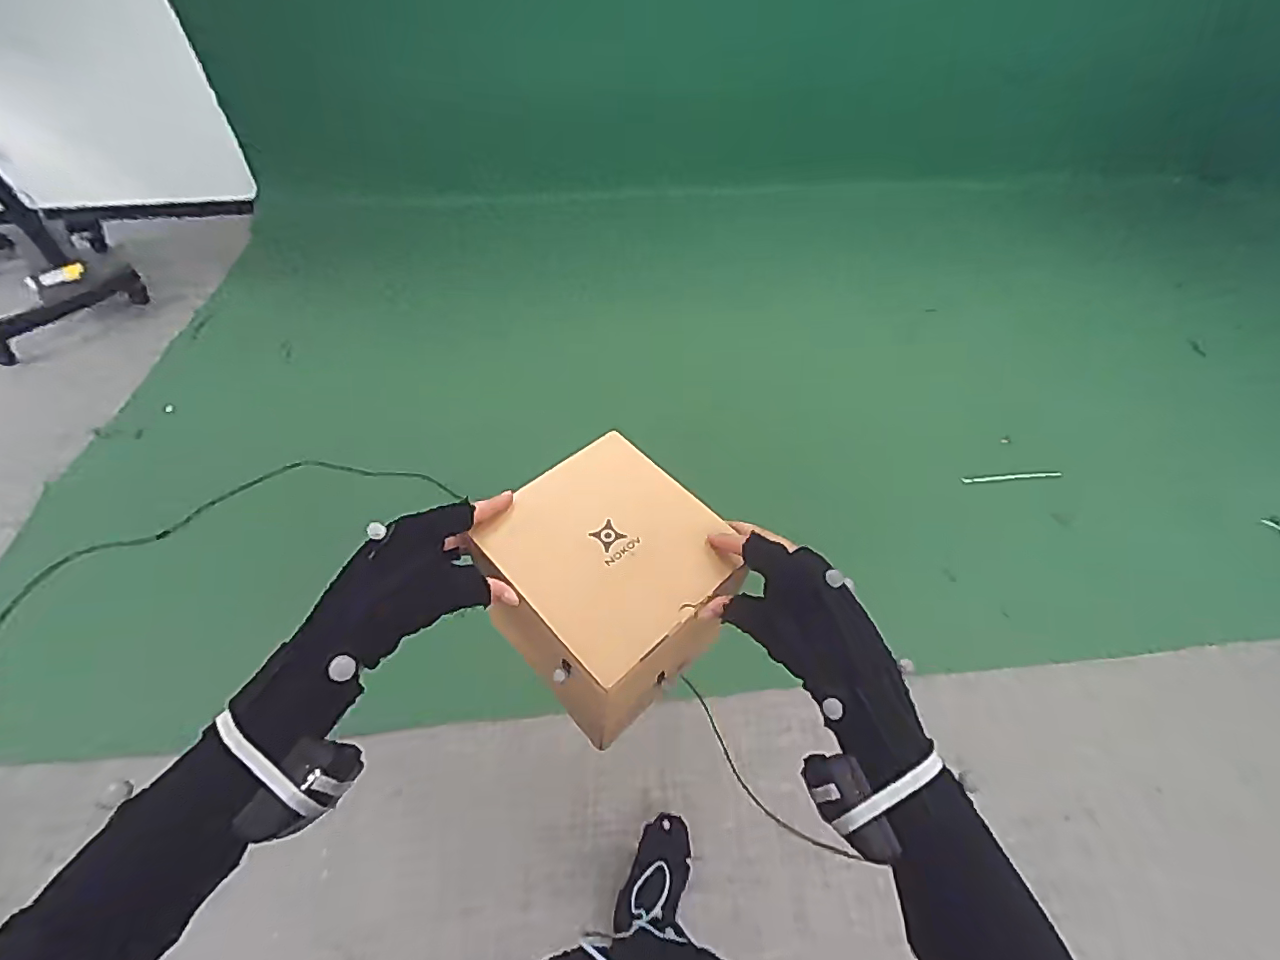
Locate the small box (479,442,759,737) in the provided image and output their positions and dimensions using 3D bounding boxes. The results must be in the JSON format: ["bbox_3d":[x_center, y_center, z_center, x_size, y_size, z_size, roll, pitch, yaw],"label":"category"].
[{"bbox_3d":[-0.024,0.103,0.504,0.168,0.176,0.179,-34,62,-29],"label":"small box"}]
